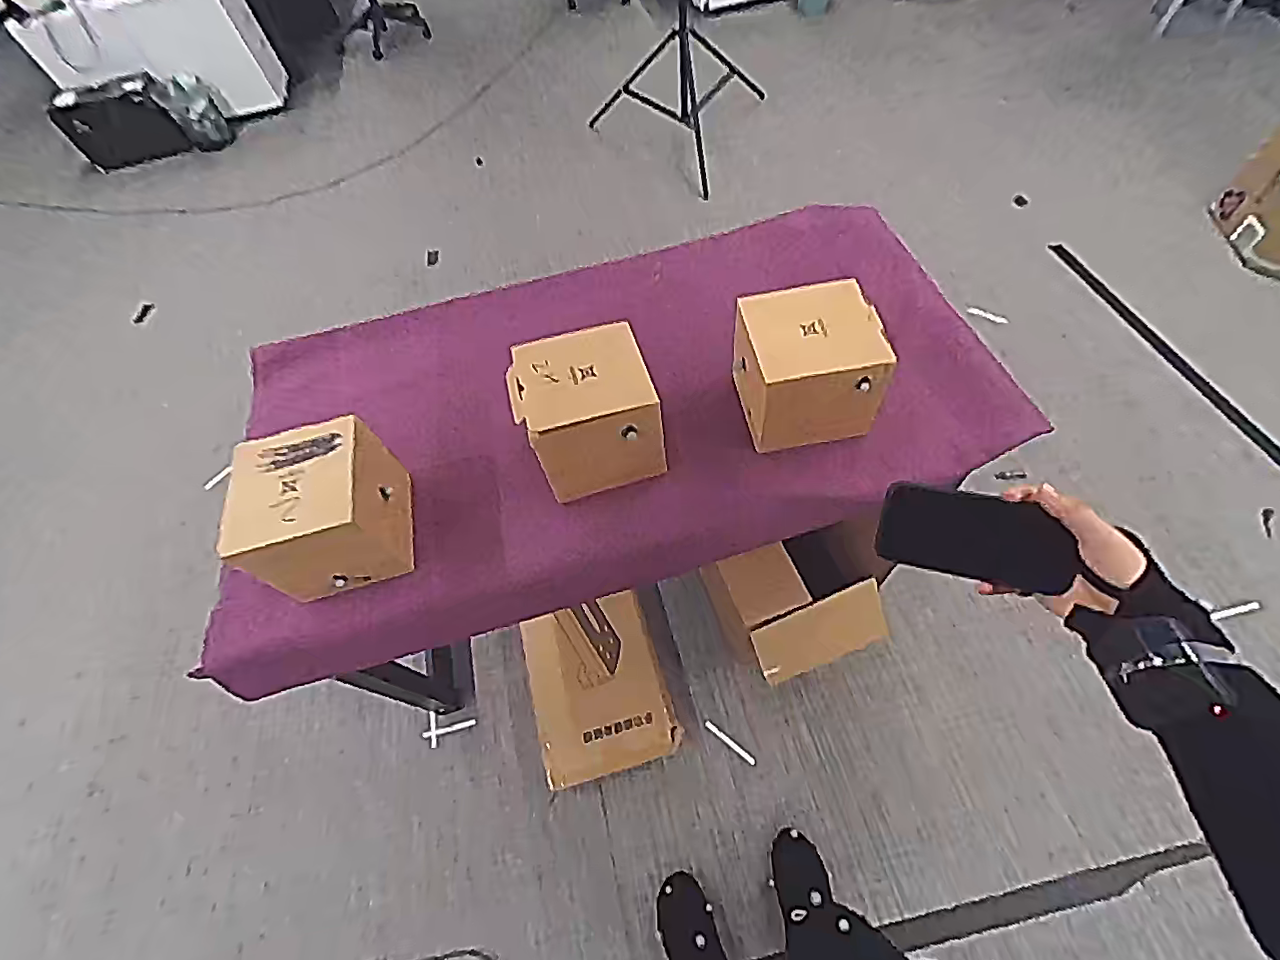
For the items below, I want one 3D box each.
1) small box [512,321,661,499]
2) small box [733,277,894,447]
[{"bbox_3d":[-0.071,-0.097,0.794,0.179,0.176,0.168,-16,56,-3],"label":"small box"},{"bbox_3d":[0.240,-0.166,0.801,0.179,0.176,0.168,-10,59,0],"label":"small box"}]
